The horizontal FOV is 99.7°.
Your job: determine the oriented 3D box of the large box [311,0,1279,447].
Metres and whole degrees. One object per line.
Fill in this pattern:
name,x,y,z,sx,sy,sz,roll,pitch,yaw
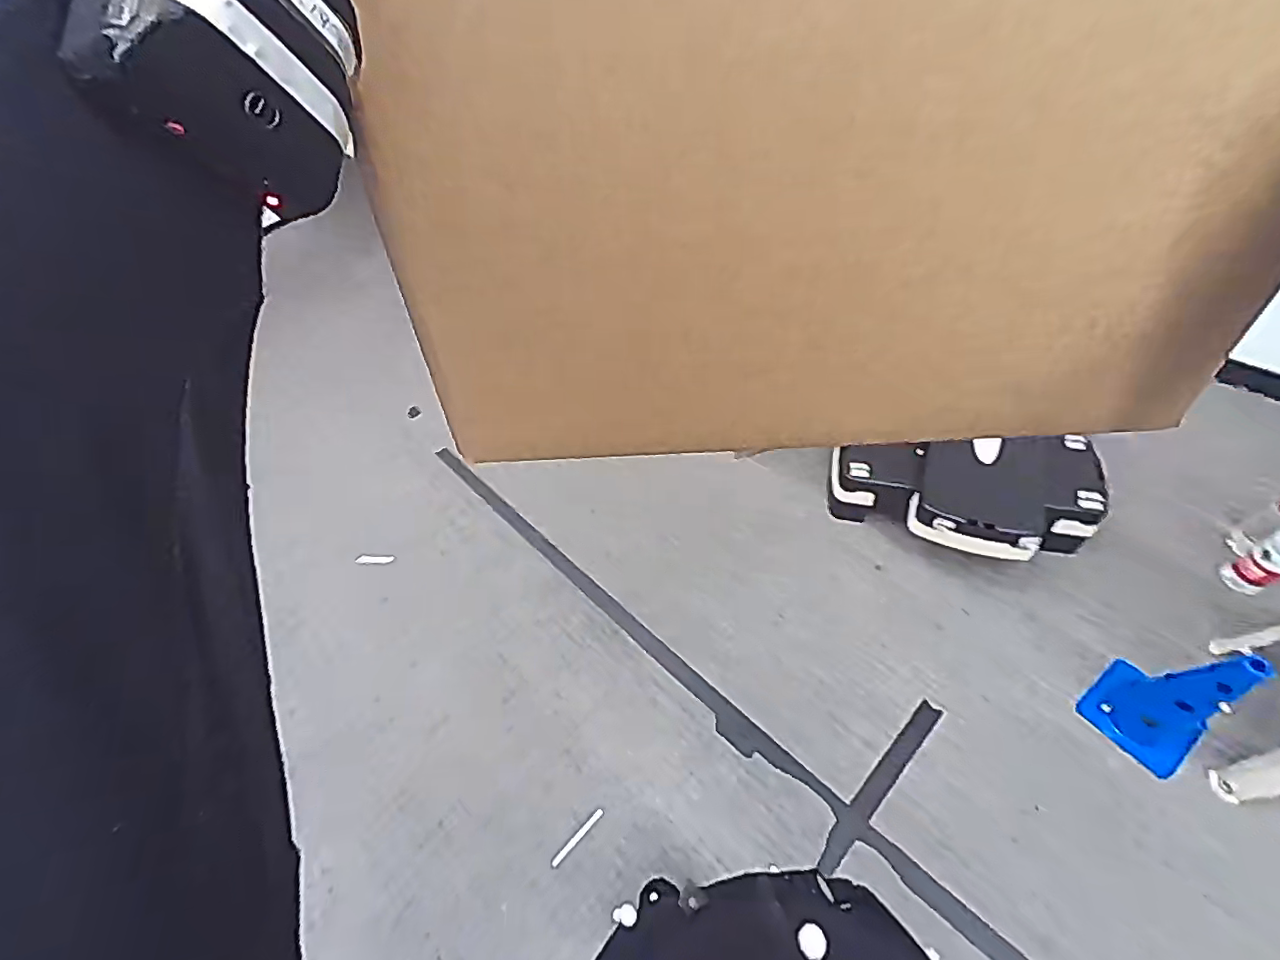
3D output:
large box,0.077,-0.238,0.322,0.408,0.320,0.320,-3,43,-1
